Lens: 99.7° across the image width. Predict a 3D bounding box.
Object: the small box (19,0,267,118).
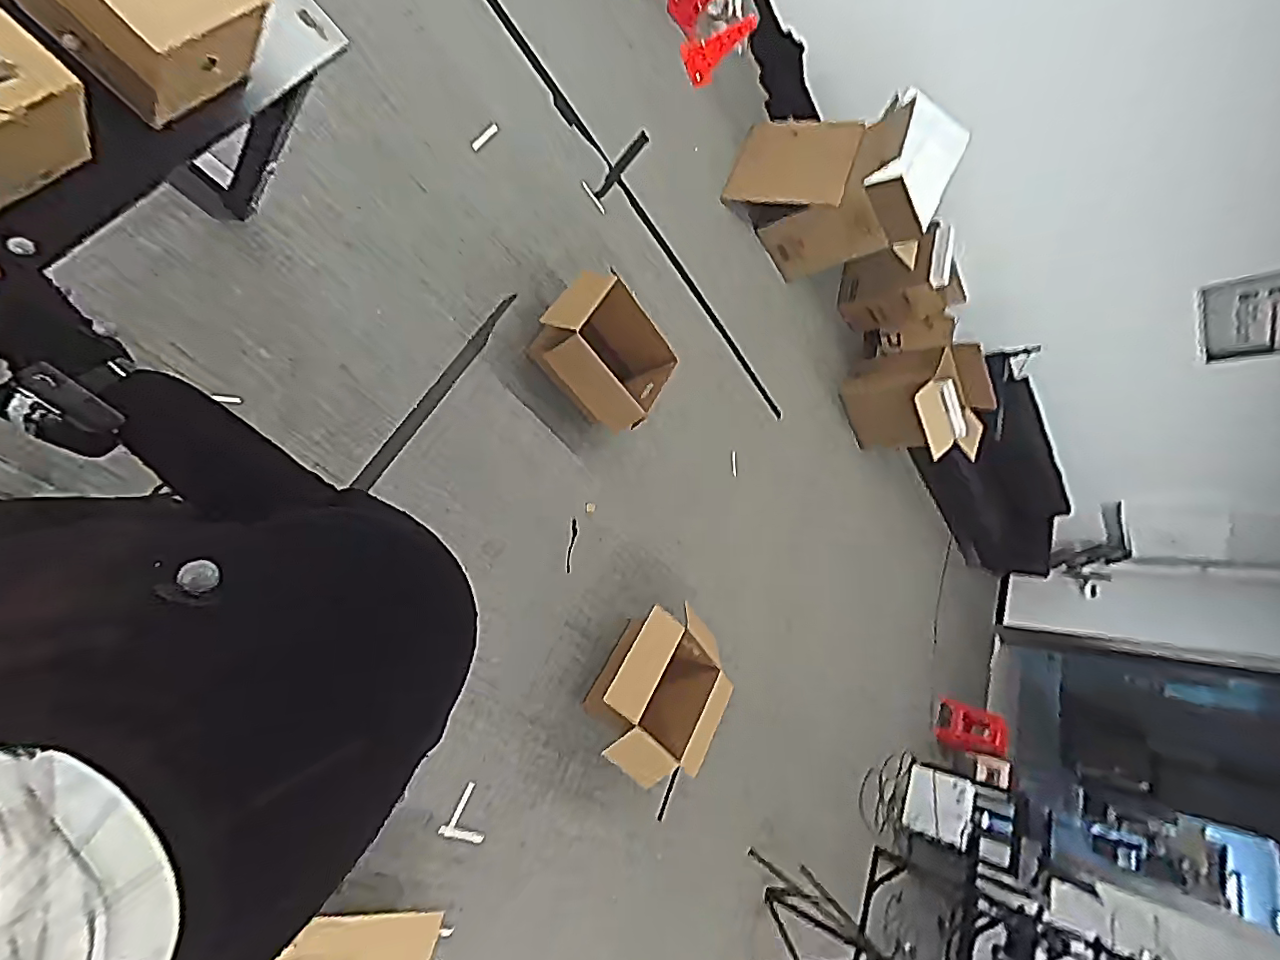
[{"bbox_3d":[-0.602,-0.592,0.653,0.168,0.176,0.179,46,60,-32],"label":"small box"}]
